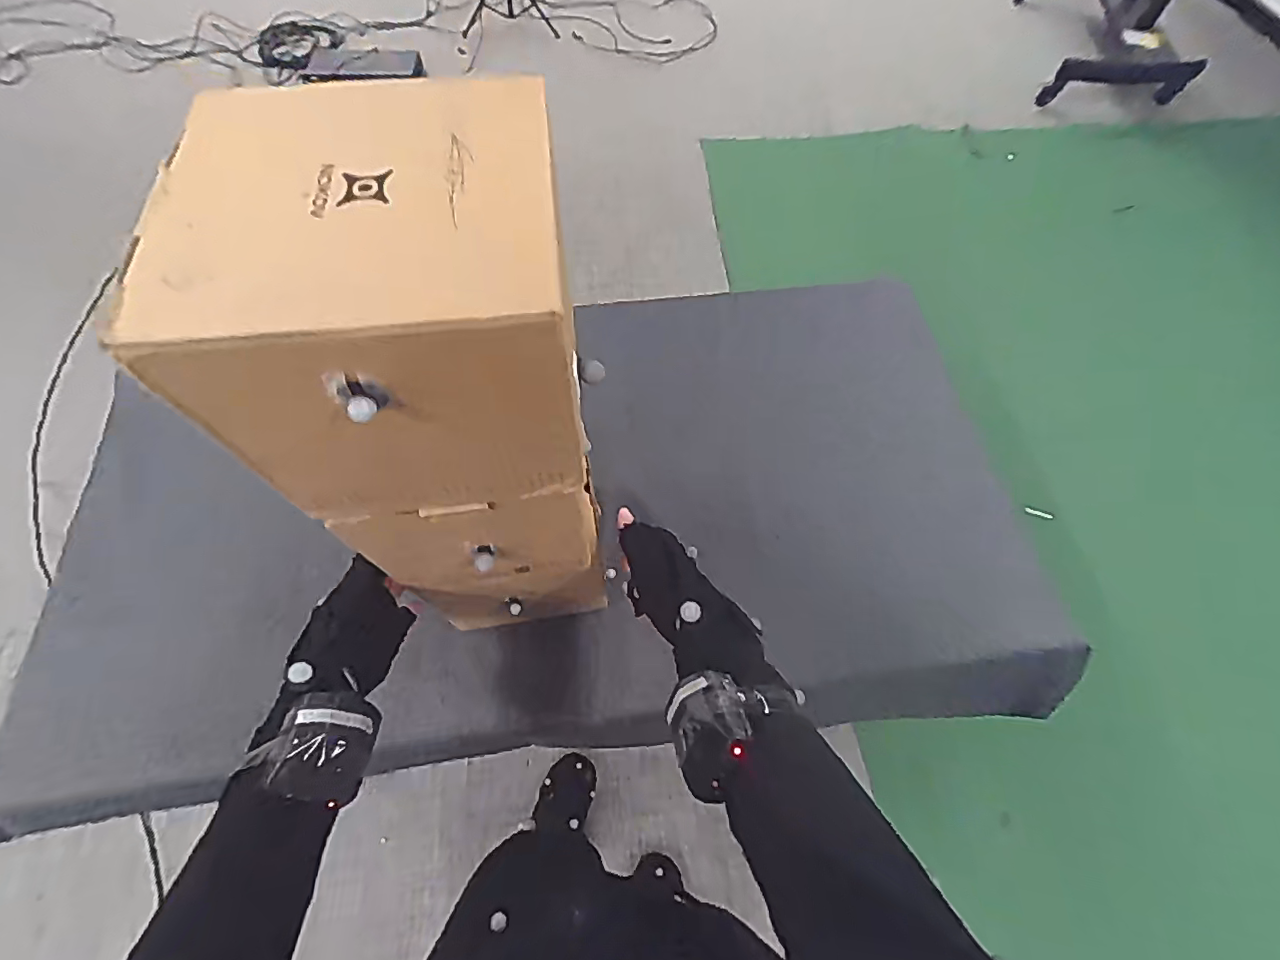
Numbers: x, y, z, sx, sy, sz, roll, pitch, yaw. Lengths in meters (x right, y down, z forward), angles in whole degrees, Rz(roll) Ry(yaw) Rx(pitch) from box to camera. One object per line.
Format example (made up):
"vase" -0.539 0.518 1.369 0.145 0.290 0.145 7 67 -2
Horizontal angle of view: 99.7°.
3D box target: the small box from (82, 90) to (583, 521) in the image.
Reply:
"small box" -0.130 -0.085 0.310 0.179 0.176 0.168 -5 64 -6

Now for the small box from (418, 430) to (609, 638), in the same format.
"small box" -0.136 0.065 0.600 0.179 0.176 0.168 -10 64 -8

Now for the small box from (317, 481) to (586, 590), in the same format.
"small box" -0.140 -0.014 0.456 0.168 0.176 0.179 -8 63 -6
